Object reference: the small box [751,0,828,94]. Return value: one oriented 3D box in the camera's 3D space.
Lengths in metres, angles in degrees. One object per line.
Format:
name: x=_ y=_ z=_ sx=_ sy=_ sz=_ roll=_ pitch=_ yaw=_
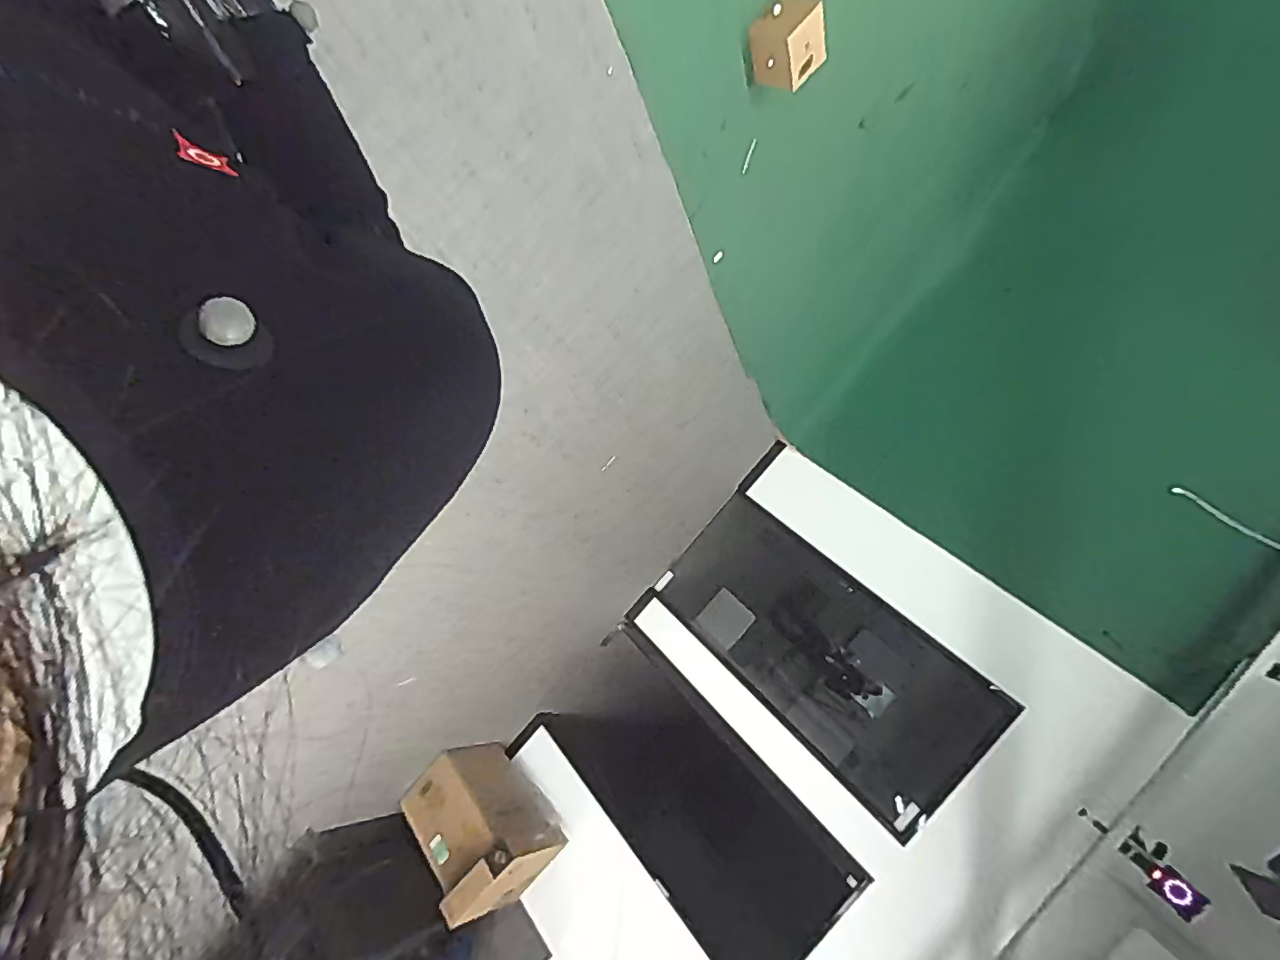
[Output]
small box: x=0.489 y=-1.416 z=1.765 sx=0.168 sy=0.176 sz=0.179 roll=-48 pitch=149 yaw=-2
